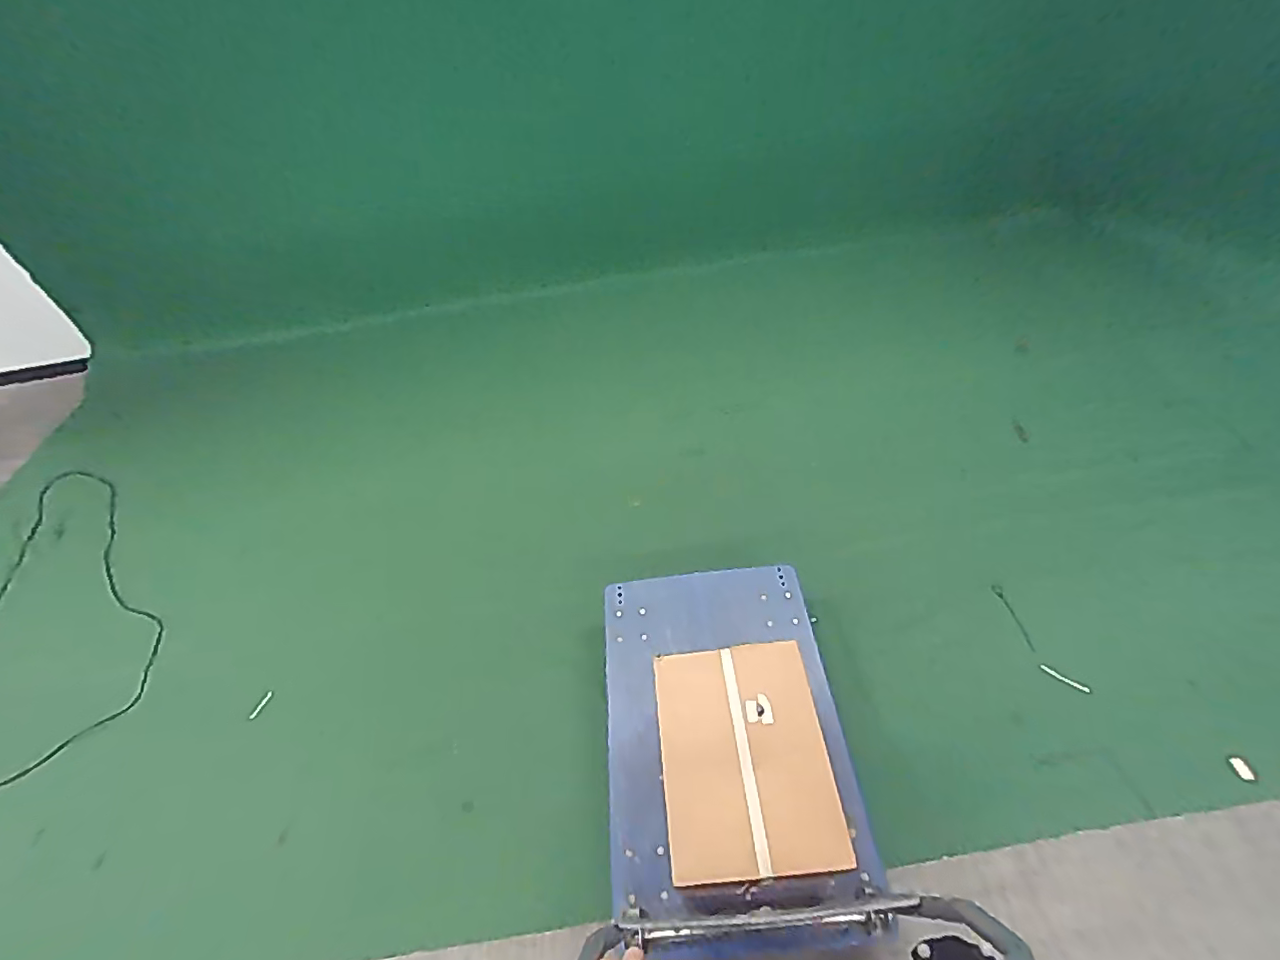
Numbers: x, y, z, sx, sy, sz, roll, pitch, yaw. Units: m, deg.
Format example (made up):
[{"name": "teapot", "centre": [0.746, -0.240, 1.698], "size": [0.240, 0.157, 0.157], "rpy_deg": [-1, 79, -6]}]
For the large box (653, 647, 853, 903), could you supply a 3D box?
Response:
[{"name": "large box", "centre": [0.213, 0.627, 1.156], "size": [0.320, 0.320, 0.408], "rpy_deg": [-7, 48, 2]}]
